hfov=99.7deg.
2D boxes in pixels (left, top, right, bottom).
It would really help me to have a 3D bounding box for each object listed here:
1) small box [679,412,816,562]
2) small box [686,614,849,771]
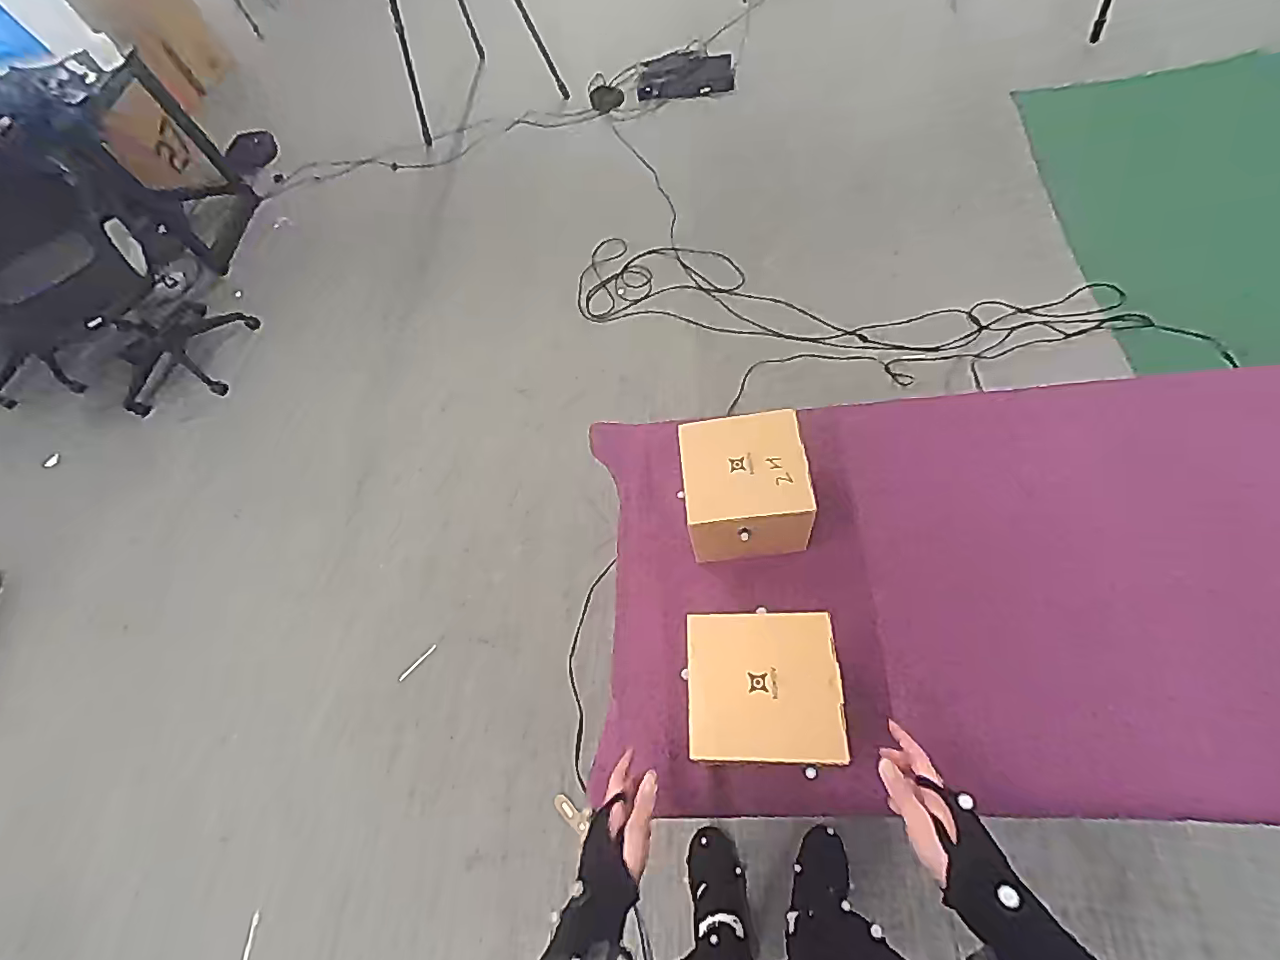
[{"bbox_3d":[0.160,0.019,0.829,0.179,0.176,0.168,-7,62,8],"label":"small box"},{"bbox_3d":[0.155,0.276,0.694,0.179,0.176,0.168,-3,60,8],"label":"small box"}]
